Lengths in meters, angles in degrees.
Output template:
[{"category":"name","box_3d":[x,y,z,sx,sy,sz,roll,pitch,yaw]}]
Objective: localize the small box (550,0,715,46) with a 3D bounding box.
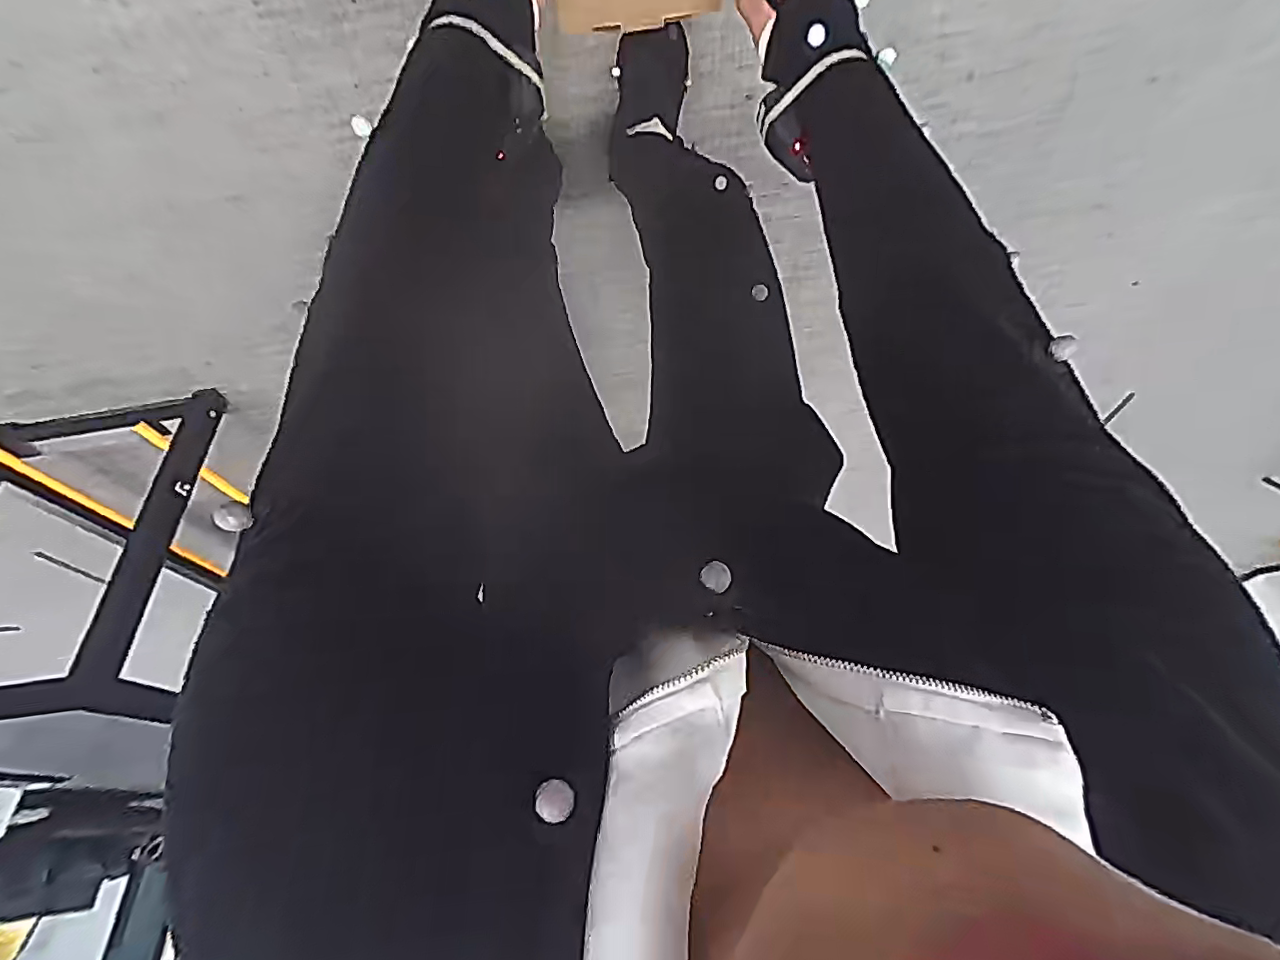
[{"category":"small box","box_3d":[-0.018,-0.570,0.526,0.168,0.176,0.179,-8,148,0]}]
